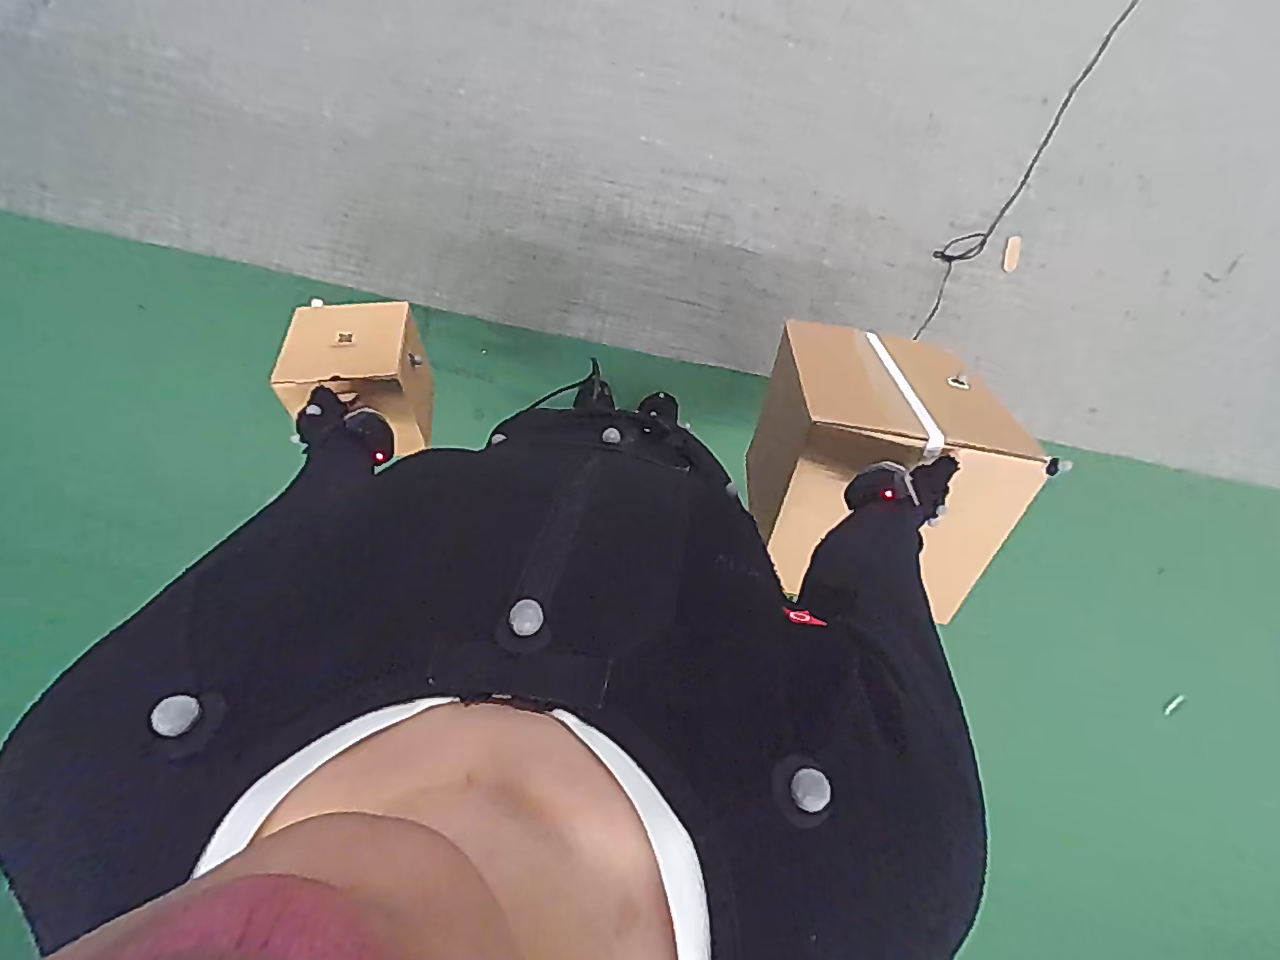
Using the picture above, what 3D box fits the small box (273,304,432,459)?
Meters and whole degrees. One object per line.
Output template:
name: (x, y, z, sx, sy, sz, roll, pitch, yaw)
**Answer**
small box: (-0.437, -0.155, 0.858, 0.168, 0.179, 0.176, -5, 144, -8)
